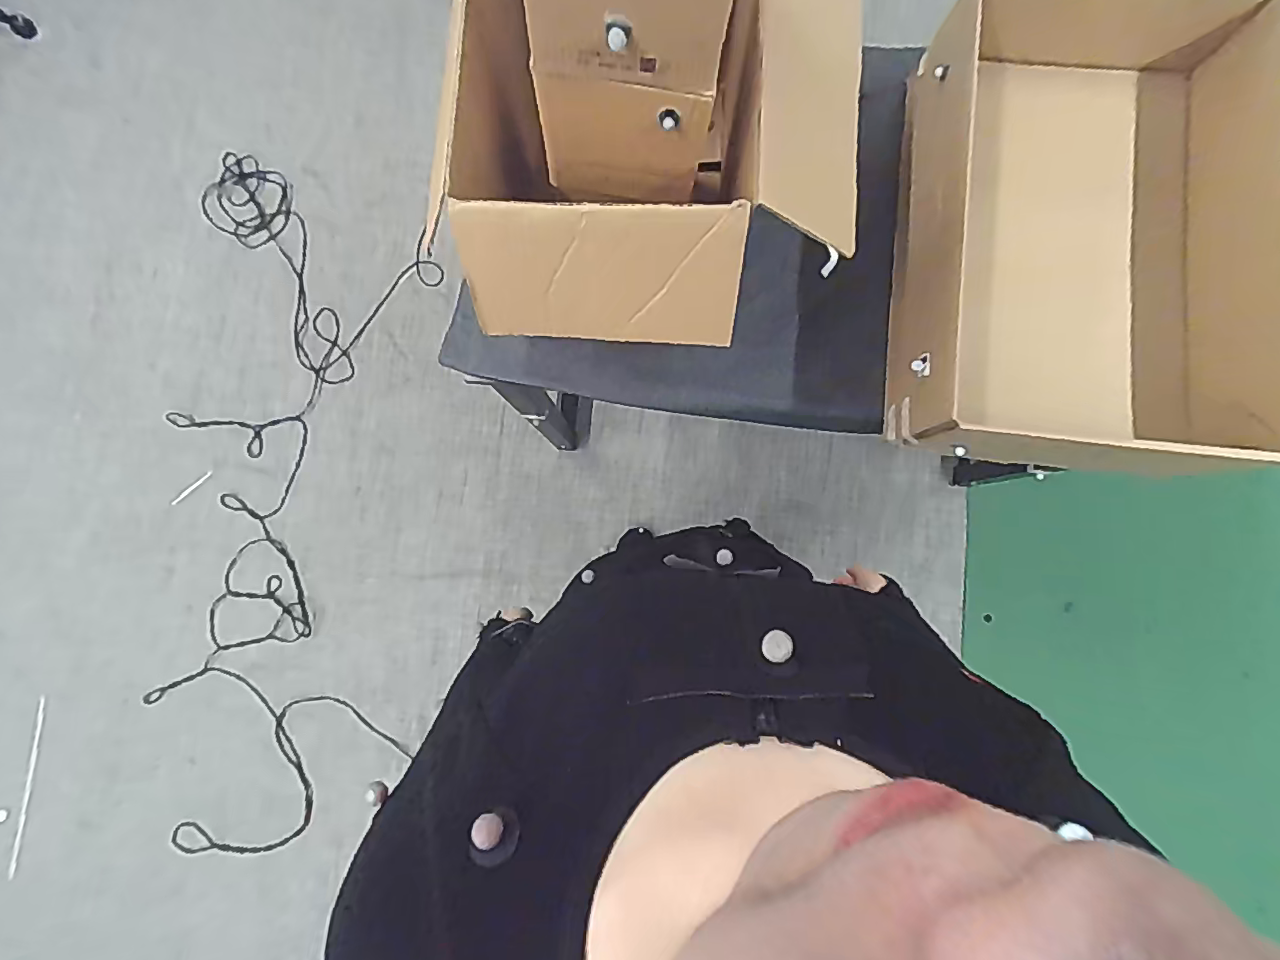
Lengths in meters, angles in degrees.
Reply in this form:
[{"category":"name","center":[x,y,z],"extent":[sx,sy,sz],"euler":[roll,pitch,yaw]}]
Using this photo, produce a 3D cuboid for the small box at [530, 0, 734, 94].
[{"category":"small box","center":[-0.003,-0.460,0.428],"extent":[0.168,0.176,0.179],"euler":[4,83,-3]}]
